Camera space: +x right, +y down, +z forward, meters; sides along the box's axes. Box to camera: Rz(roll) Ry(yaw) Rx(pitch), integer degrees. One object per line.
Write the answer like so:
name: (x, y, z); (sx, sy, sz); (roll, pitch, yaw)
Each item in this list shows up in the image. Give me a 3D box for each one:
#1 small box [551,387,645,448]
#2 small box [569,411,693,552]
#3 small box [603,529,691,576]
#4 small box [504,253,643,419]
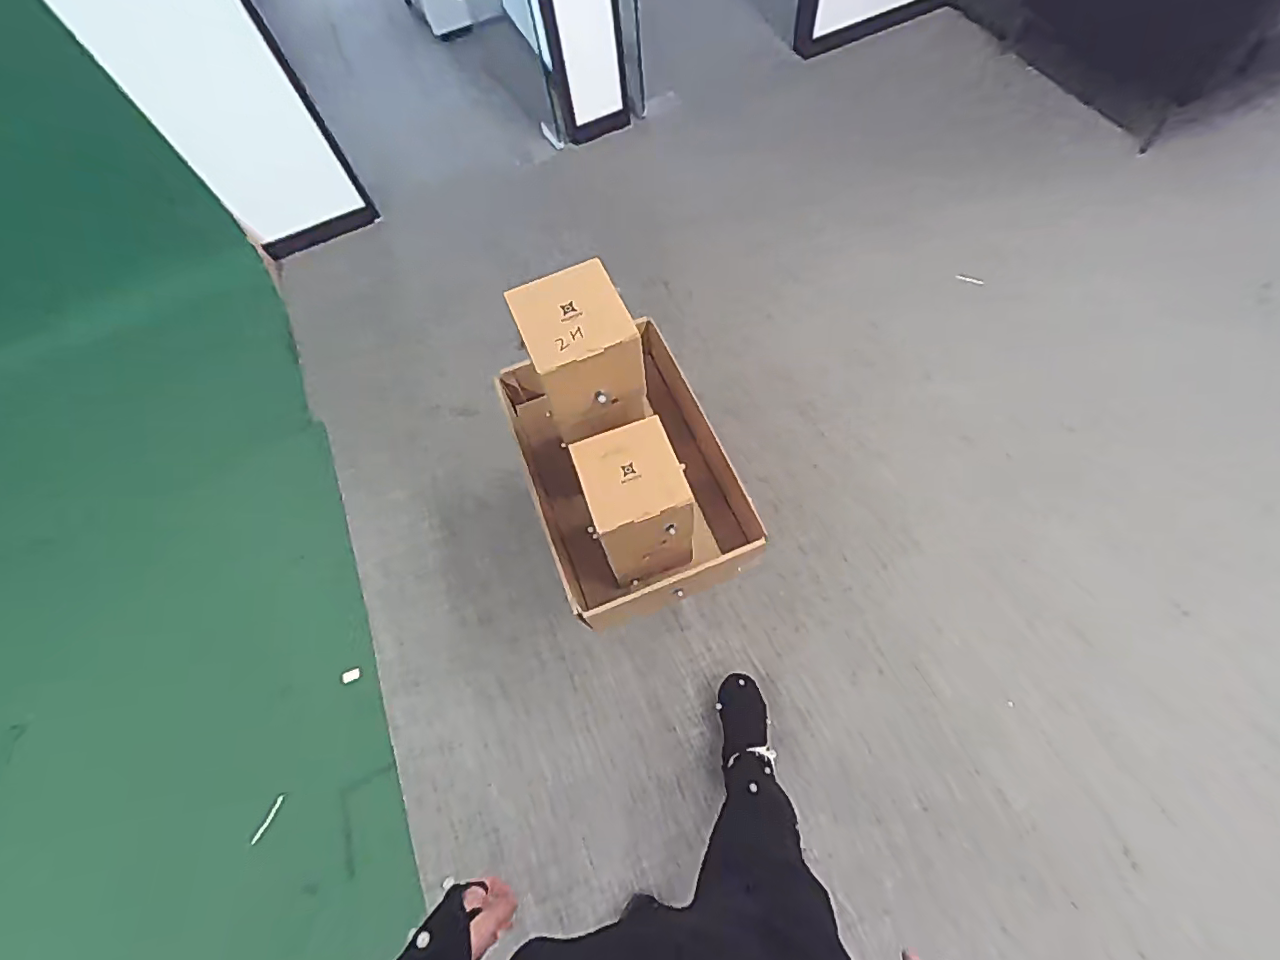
small box: (-0.097, -0.180, 1.061); (0.168, 0.176, 0.179); (-22, 68, -5)
small box: (-0.010, 0.013, 0.957); (0.168, 0.176, 0.179); (-19, 64, -4)
small box: (0.001, 0.081, 1.104); (0.168, 0.176, 0.179); (-21, 63, -4)
small box: (-0.105, -0.233, 0.904); (0.168, 0.176, 0.179); (-24, 68, -5)
